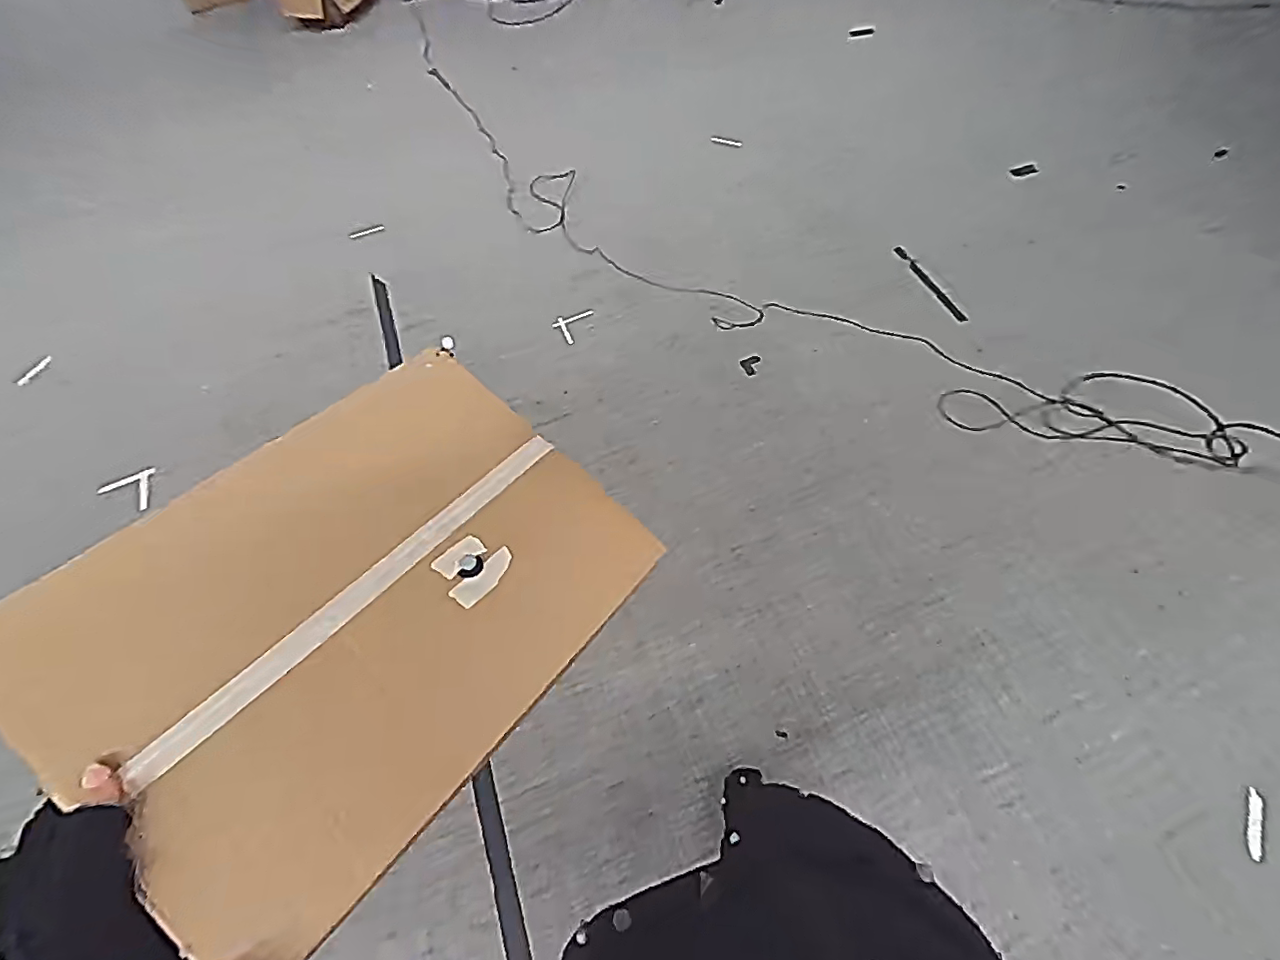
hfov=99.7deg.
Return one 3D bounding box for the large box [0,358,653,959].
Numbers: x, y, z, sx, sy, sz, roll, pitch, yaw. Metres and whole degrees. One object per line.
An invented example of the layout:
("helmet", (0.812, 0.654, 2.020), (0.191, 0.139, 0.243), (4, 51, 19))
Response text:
("large box", (-0.252, 0.159, 0.572), (0.320, 0.320, 0.408), (41, 60, 8))
